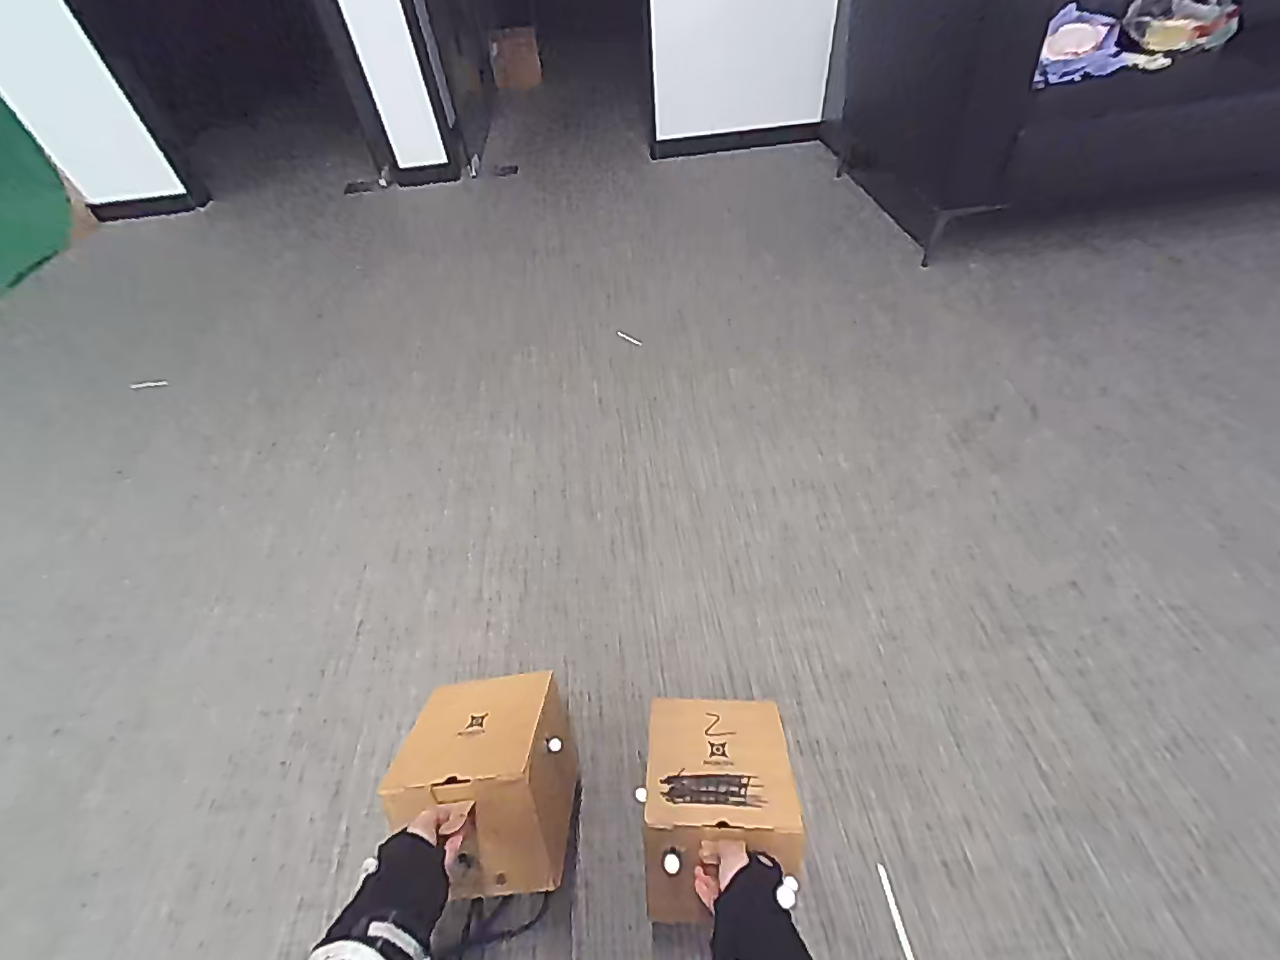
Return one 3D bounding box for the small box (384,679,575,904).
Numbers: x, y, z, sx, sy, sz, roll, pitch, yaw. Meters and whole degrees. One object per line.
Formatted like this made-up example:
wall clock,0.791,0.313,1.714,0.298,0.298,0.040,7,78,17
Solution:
small box,-0.184,0.382,0.681,0.168,0.176,0.179,-9,17,4
